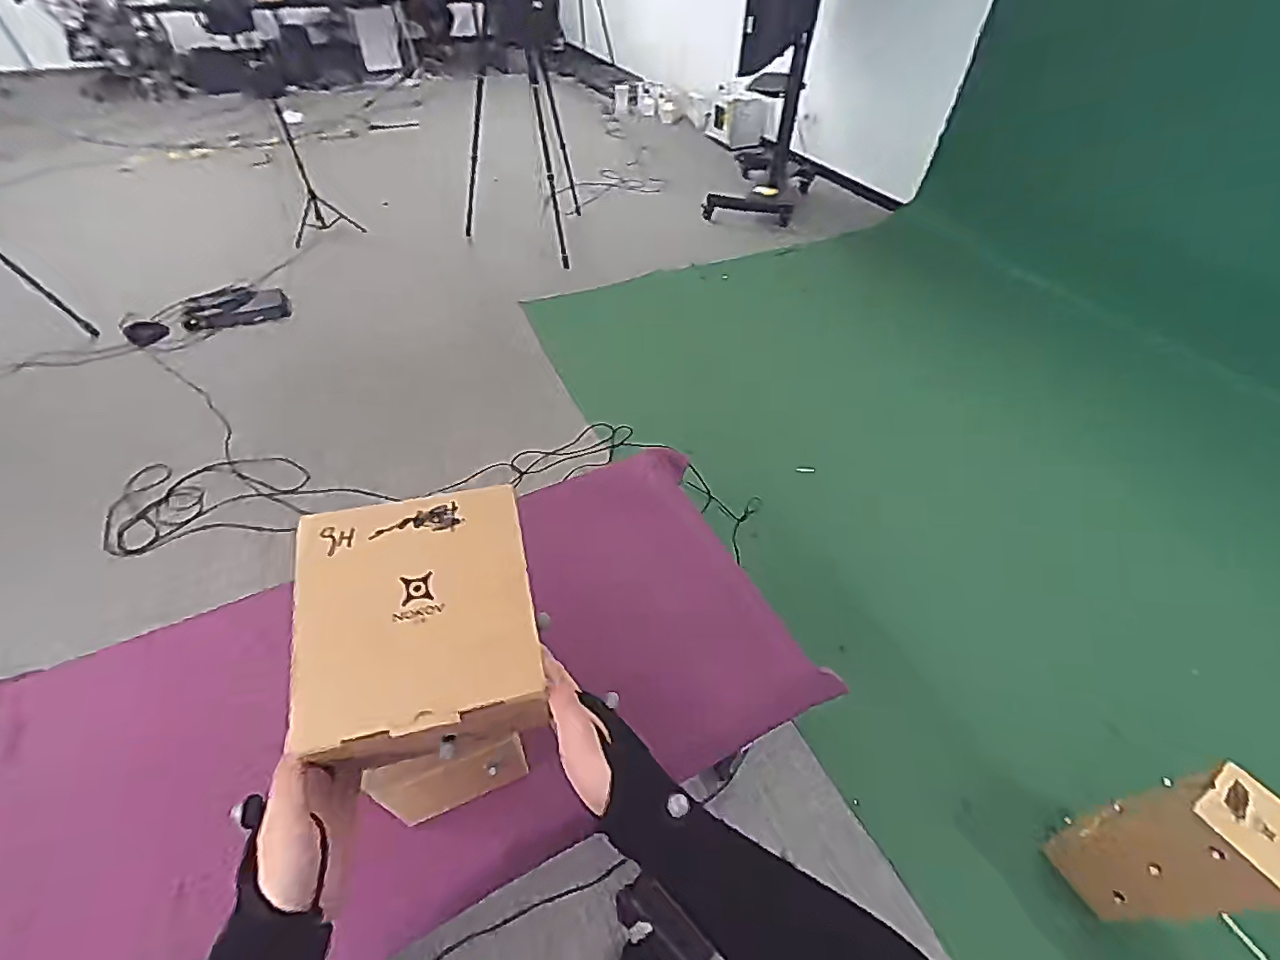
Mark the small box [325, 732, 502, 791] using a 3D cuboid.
[{"bbox_3d":[-0.270,0.247,0.663,0.179,0.176,0.168,-17,49,-17],"label":"small box"}]

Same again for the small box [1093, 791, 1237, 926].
[{"bbox_3d":[1.150,0.817,1.164,0.168,0.176,0.179,-22,50,-21],"label":"small box"}]

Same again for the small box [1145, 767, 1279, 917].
[{"bbox_3d":[1.153,0.702,1.046,0.168,0.176,0.179,-24,53,-21],"label":"small box"}]

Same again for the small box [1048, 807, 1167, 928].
[{"bbox_3d":[1.141,0.924,1.286,0.168,0.176,0.179,-20,51,-19],"label":"small box"}]

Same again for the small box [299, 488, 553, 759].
[{"bbox_3d":[-0.170,0.130,0.471,0.168,0.176,0.179,-8,62,-13],"label":"small box"}]
